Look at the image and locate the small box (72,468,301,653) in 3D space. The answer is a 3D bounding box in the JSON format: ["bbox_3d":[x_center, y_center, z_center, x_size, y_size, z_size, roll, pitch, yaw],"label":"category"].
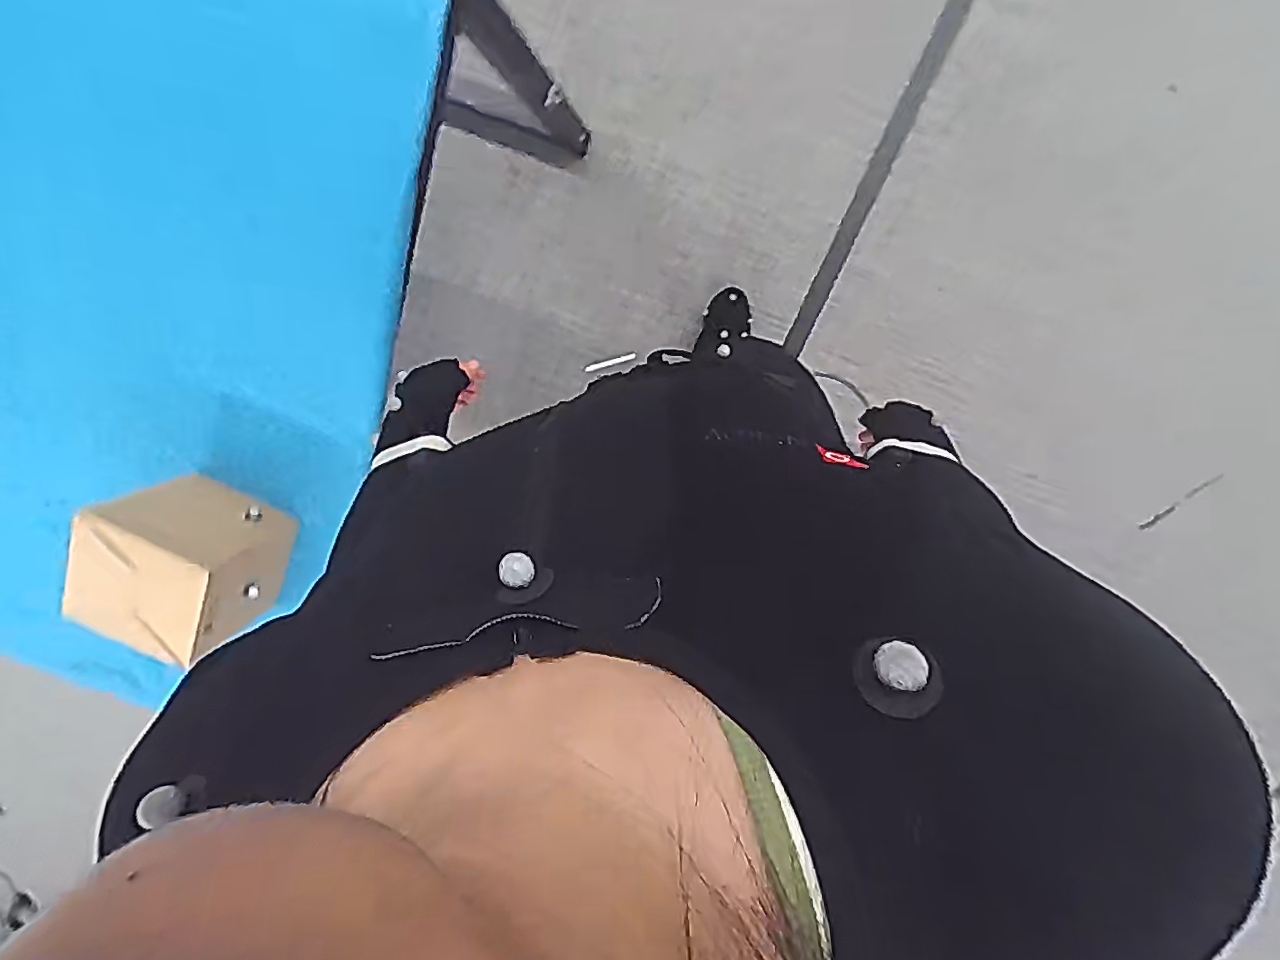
[{"bbox_3d":[-0.630,0.111,0.762,0.179,0.176,0.168,25,109,-3],"label":"small box"}]
